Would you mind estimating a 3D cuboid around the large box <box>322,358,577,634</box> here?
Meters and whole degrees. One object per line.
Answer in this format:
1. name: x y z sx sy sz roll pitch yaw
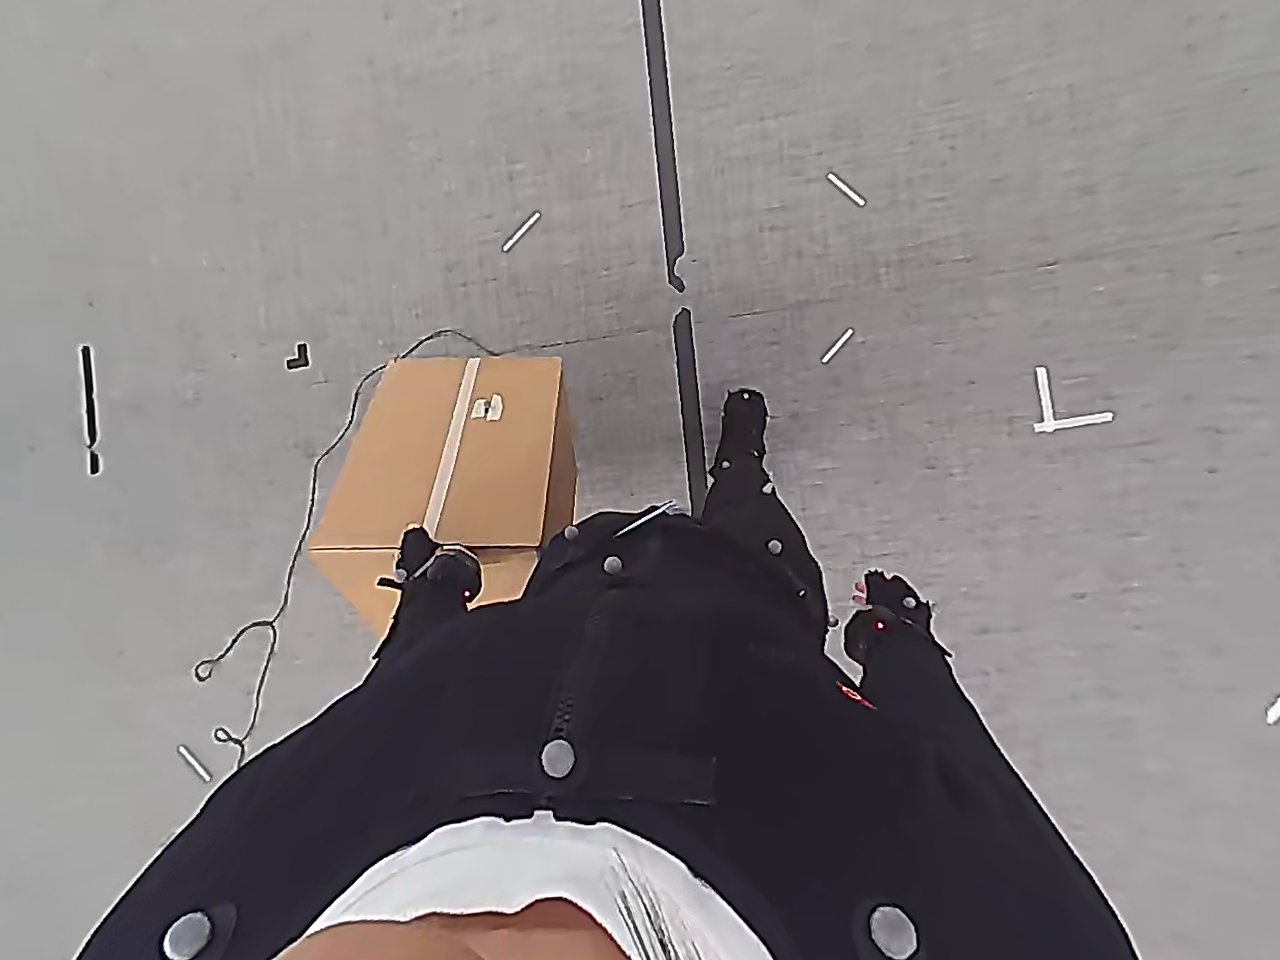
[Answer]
1. large box: -0.292 0.029 0.982 0.320 0.320 0.408 0 50 -1
